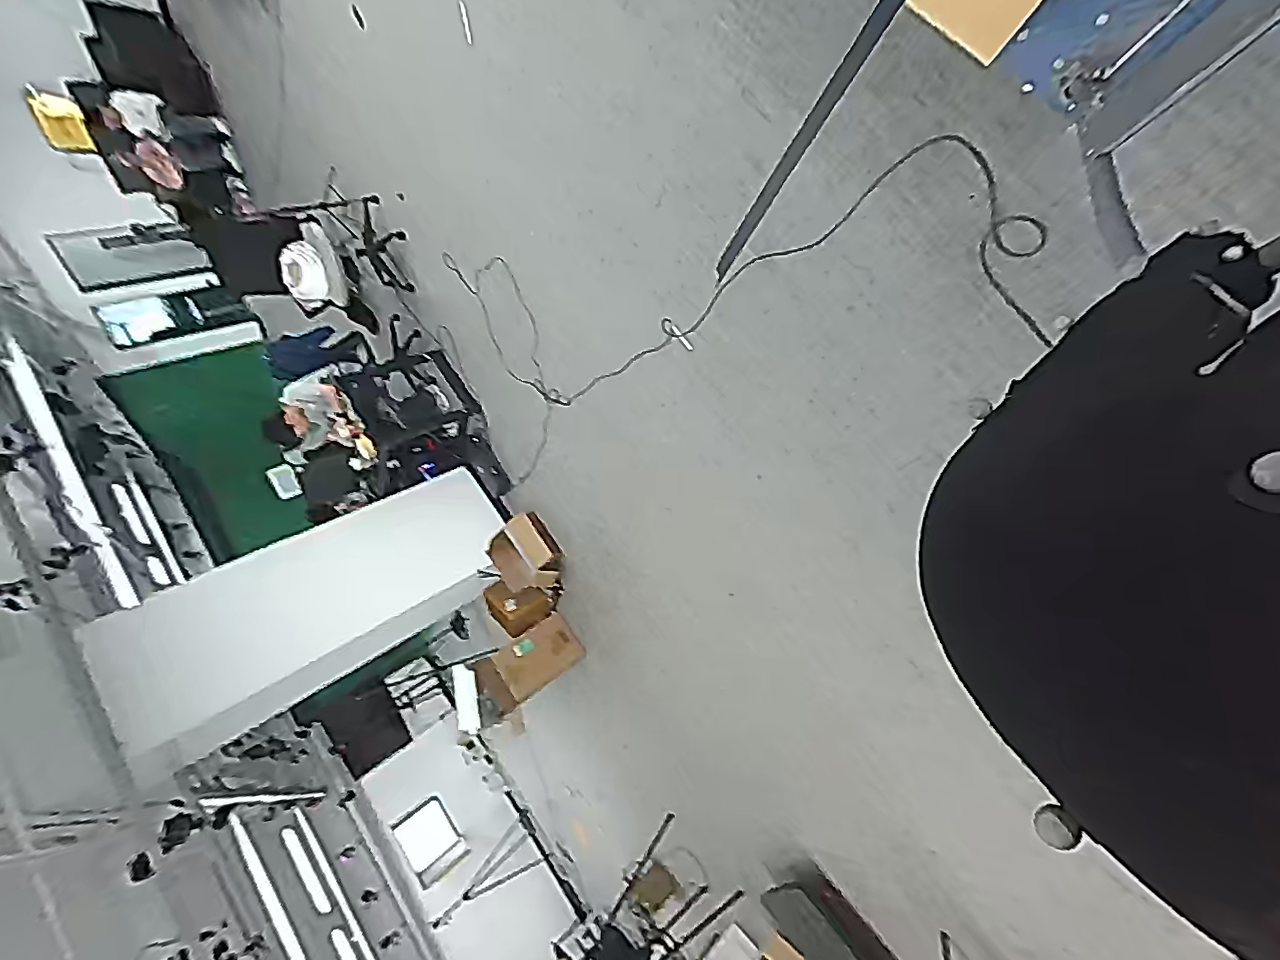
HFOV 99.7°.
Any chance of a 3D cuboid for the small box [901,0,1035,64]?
[{"bbox_3d":[0.535,-0.788,0.816,0.168,0.176,0.179,33,145,-4],"label":"small box"}]
